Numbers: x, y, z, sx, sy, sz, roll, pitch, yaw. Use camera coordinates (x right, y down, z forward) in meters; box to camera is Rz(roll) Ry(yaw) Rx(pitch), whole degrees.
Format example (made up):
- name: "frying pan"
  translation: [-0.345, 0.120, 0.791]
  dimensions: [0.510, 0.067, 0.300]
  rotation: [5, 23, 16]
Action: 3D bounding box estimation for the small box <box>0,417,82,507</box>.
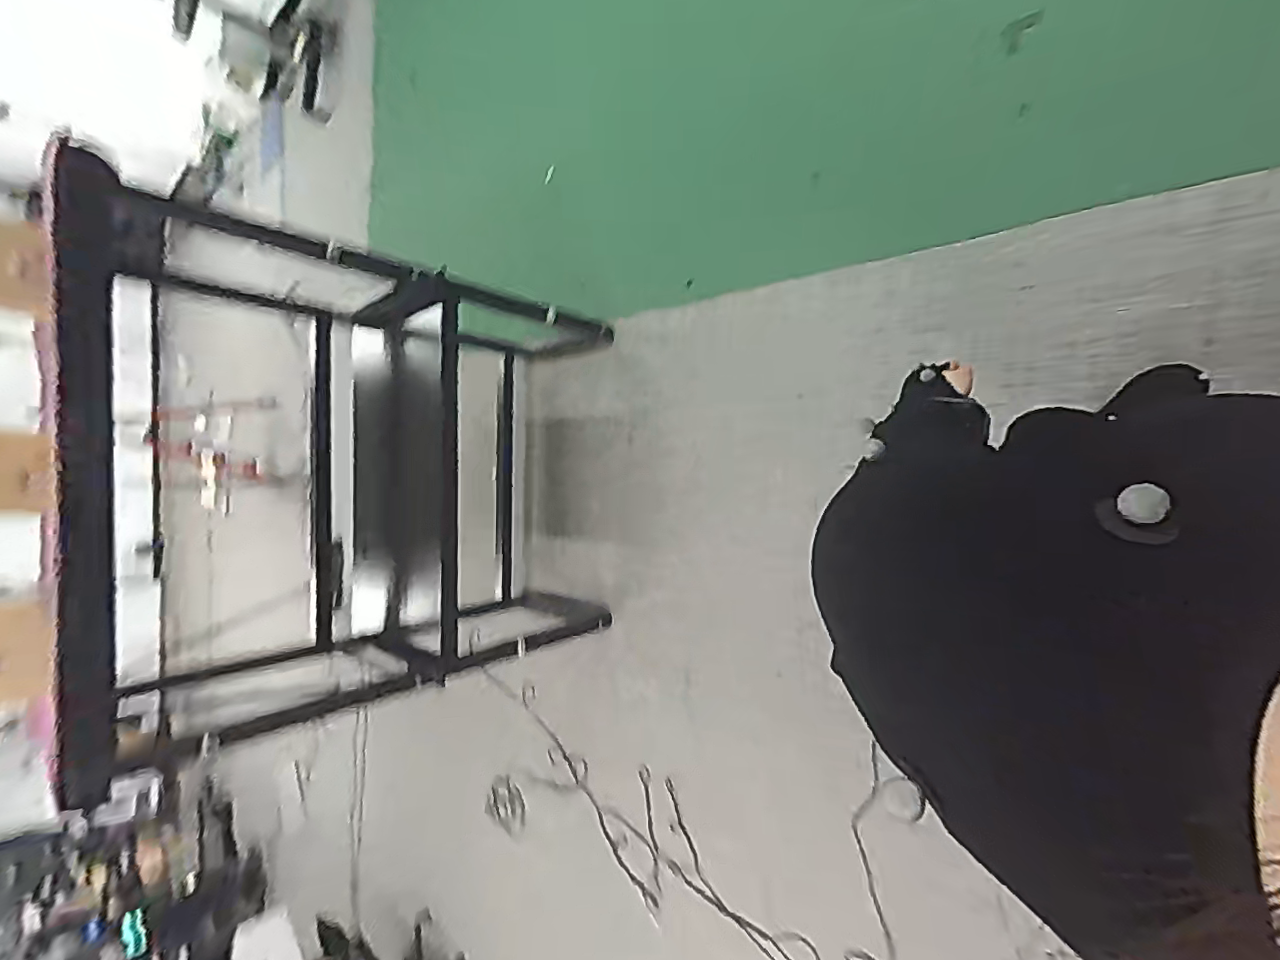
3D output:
- name: "small box"
  translation: [-1.222, -0.038, 1.058]
  dimensions: [0.179, 0.176, 0.168]
  rotation: [7, 95, 41]
